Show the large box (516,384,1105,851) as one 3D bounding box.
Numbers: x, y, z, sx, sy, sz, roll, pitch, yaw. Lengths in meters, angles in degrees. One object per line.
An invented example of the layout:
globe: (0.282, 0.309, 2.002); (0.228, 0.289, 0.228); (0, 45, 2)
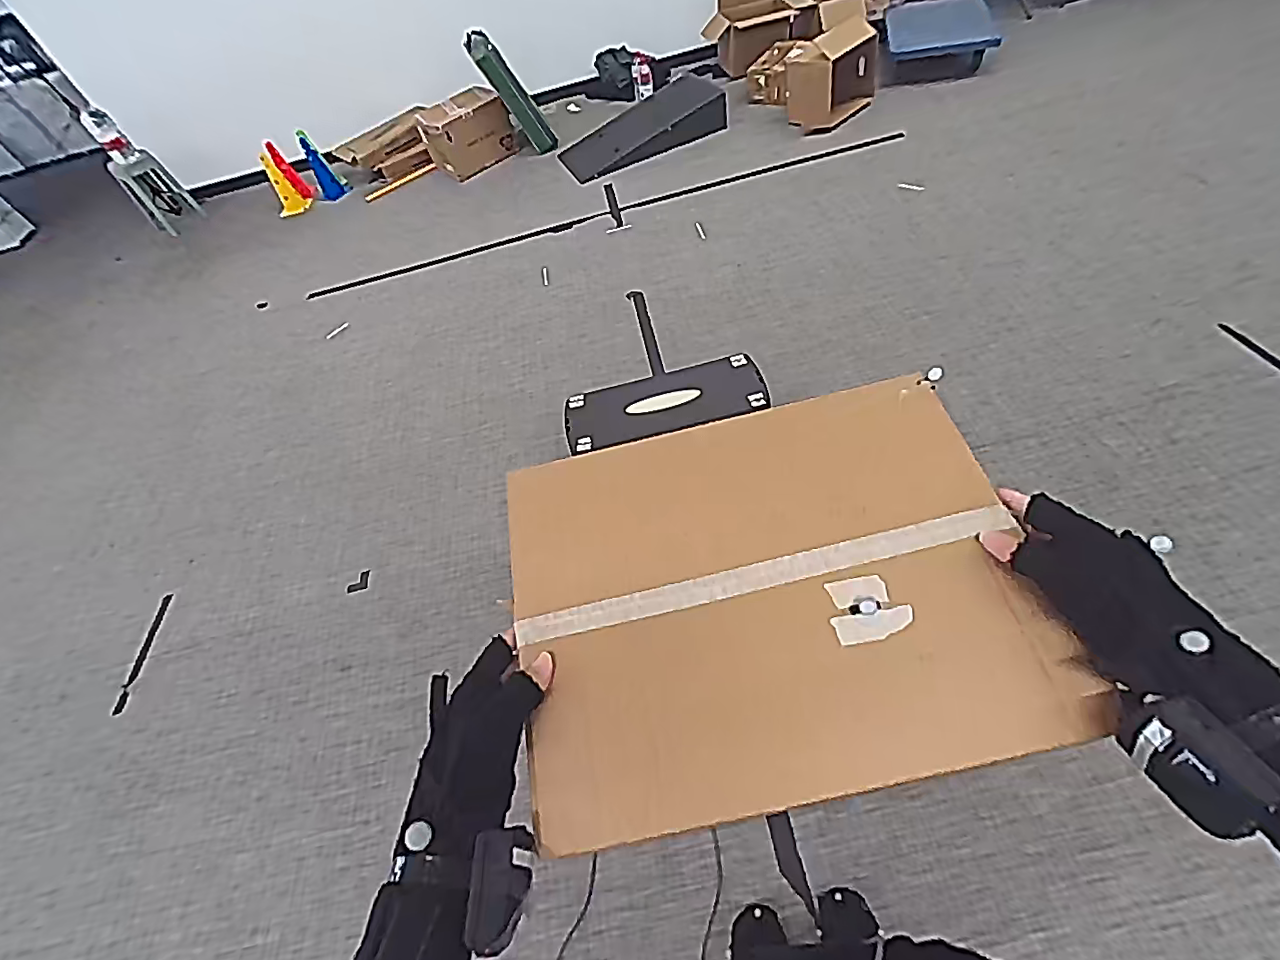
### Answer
large box: (0.120, 0.156, 0.576); (0.408, 0.320, 0.320); (-14, 60, 2)

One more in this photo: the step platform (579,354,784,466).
step platform: (0.134, -0.203, 1.840); (0.684, 0.204, 0.286); (-15, 52, 1)
